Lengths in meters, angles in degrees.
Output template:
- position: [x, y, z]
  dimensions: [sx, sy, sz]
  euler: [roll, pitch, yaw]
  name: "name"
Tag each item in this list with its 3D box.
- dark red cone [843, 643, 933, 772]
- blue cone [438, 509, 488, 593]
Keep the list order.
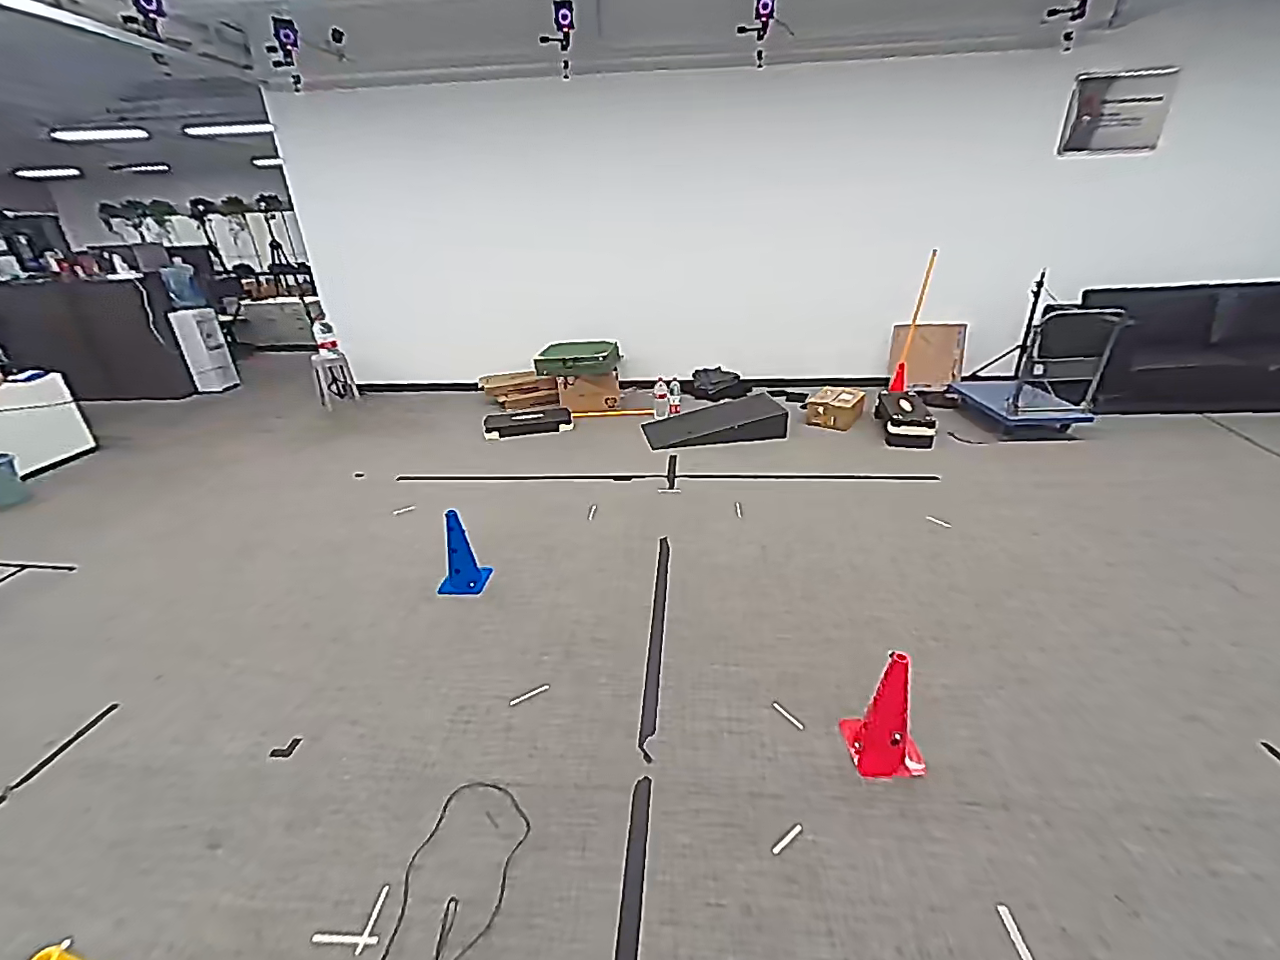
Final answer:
- position: [0.715, 0.616, 1.518]
  dimensions: [0.201, 0.394, 0.202]
  euler: [-4, 26, -1]
  name: "dark red cone"
- position: [-0.800, 0.299, 2.356]
  dimensions: [0.192, 0.380, 0.193]
  euler: [0, 26, 6]
  name: "blue cone"
